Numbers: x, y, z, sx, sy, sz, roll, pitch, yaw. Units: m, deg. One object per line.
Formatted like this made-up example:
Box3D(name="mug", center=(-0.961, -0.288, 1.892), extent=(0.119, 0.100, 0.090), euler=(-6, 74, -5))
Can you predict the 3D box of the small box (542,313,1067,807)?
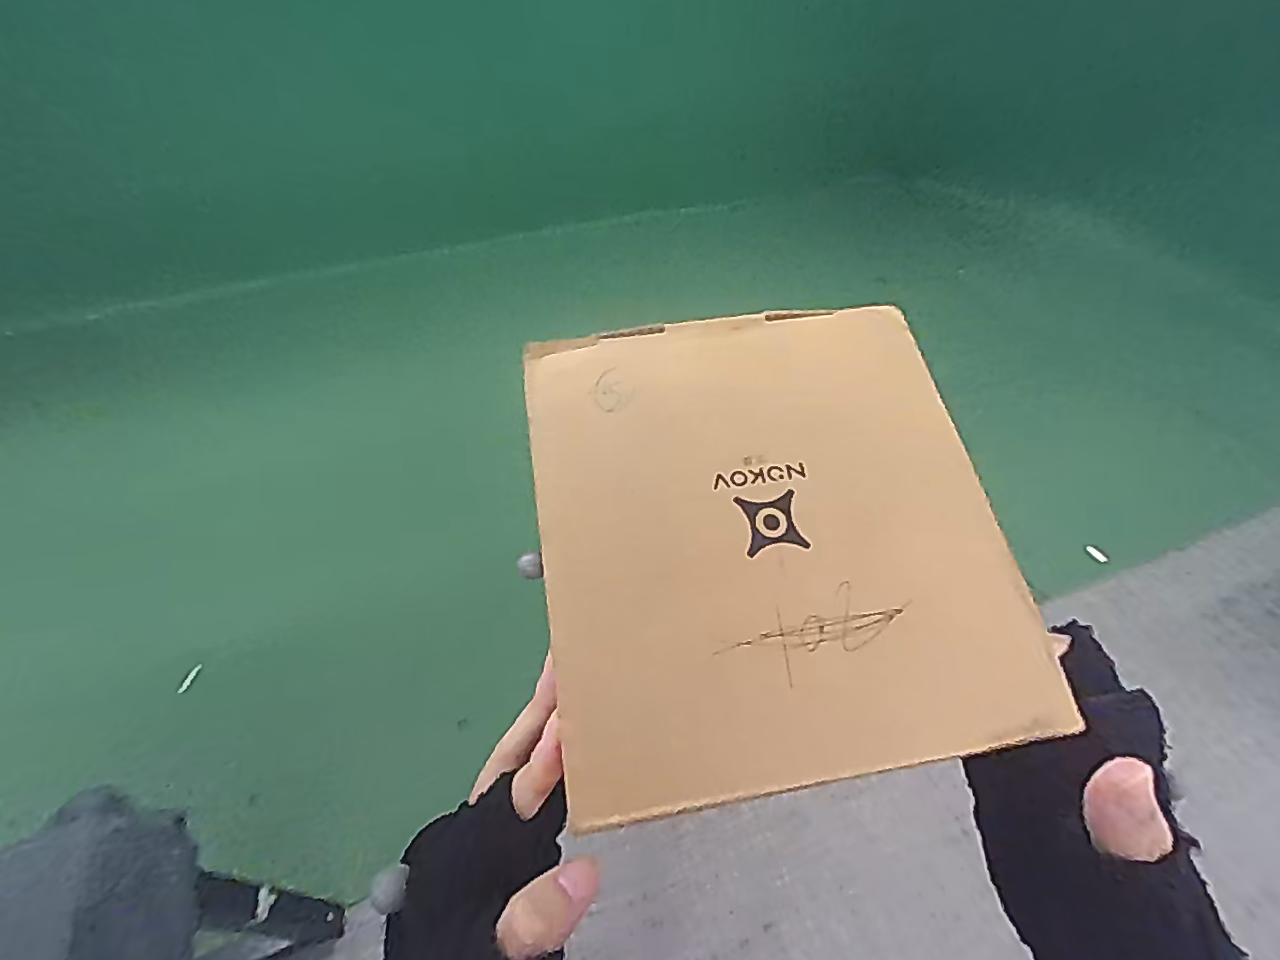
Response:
Box3D(name="small box", center=(0.046, 0.044, 0.277), extent=(0.168, 0.176, 0.179), euler=(-8, 68, -5))
